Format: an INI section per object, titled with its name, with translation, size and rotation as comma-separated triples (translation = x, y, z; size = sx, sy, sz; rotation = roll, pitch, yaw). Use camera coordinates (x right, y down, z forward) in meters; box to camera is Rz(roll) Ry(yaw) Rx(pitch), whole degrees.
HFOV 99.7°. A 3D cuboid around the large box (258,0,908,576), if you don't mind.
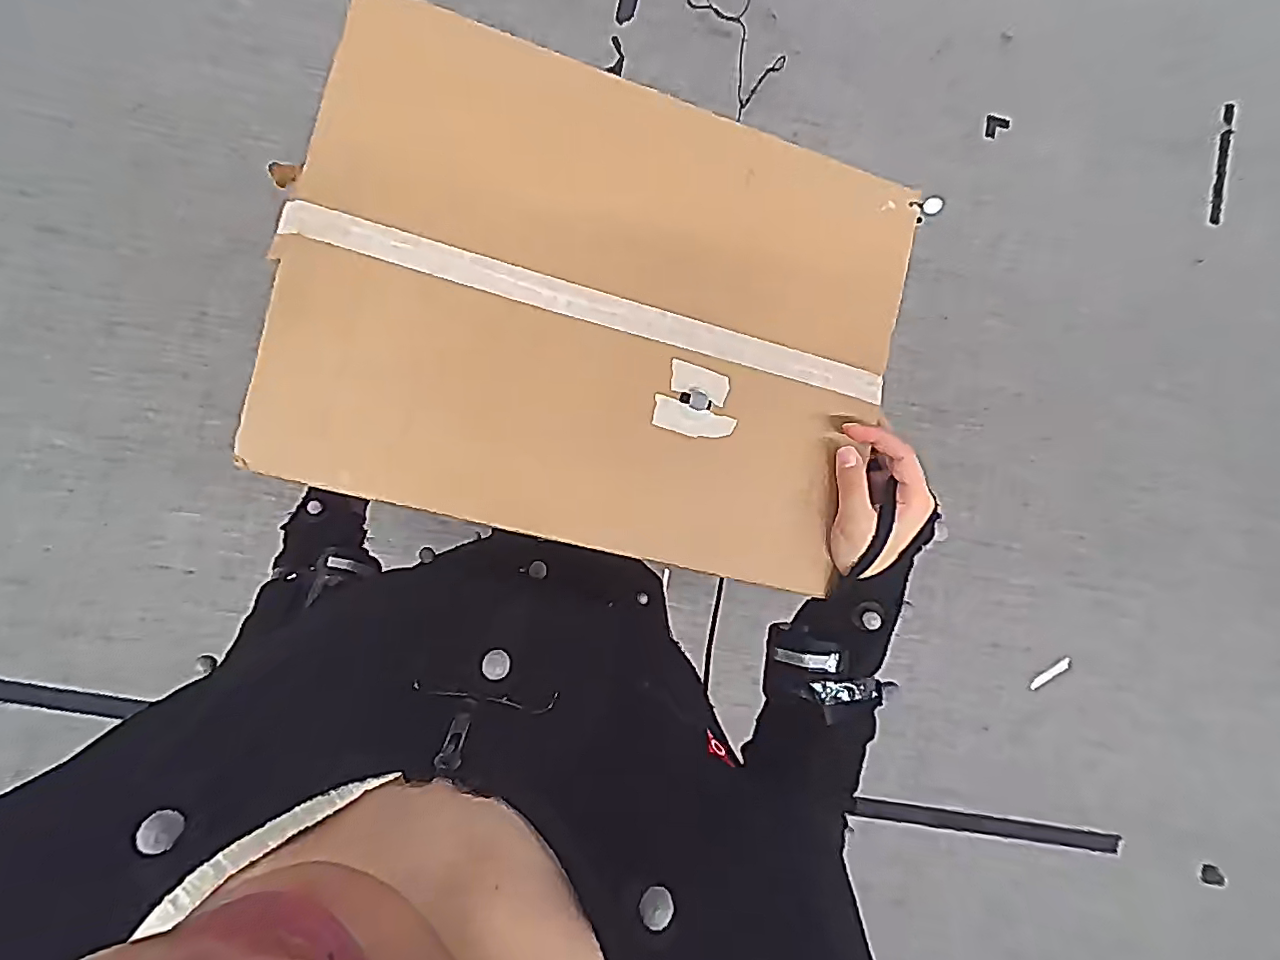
[large box]
translation = -0.044, -0.118, 0.517
size = 0.408, 0.320, 0.320
rotation = 14, 88, -12
